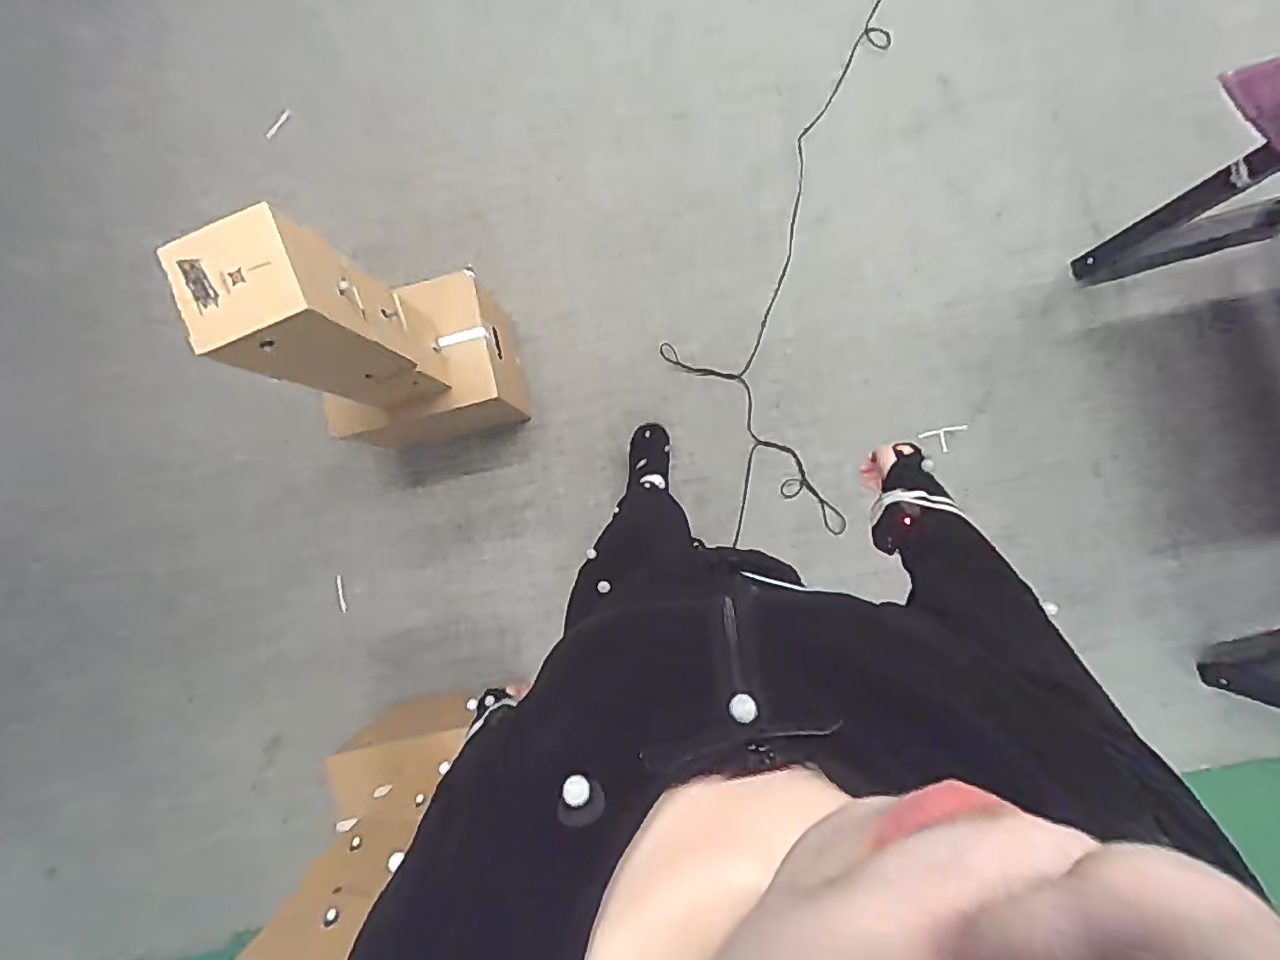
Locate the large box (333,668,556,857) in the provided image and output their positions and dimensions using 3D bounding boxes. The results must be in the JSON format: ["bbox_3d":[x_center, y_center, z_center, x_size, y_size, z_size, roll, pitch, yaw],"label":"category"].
[{"bbox_3d":[-0.467,0.712,1.369,0.408,0.320,0.320,-13,87,4],"label":"large box"}]

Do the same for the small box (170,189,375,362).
[{"bbox_3d":[-0.557,-0.303,0.842,0.179,0.176,0.168,-22,88,2],"label":"small box"}]

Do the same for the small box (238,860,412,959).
[{"bbox_3d":[-0.454,0.703,0.797,0.168,0.176,0.179,2,89,4],"label":"small box"}]
